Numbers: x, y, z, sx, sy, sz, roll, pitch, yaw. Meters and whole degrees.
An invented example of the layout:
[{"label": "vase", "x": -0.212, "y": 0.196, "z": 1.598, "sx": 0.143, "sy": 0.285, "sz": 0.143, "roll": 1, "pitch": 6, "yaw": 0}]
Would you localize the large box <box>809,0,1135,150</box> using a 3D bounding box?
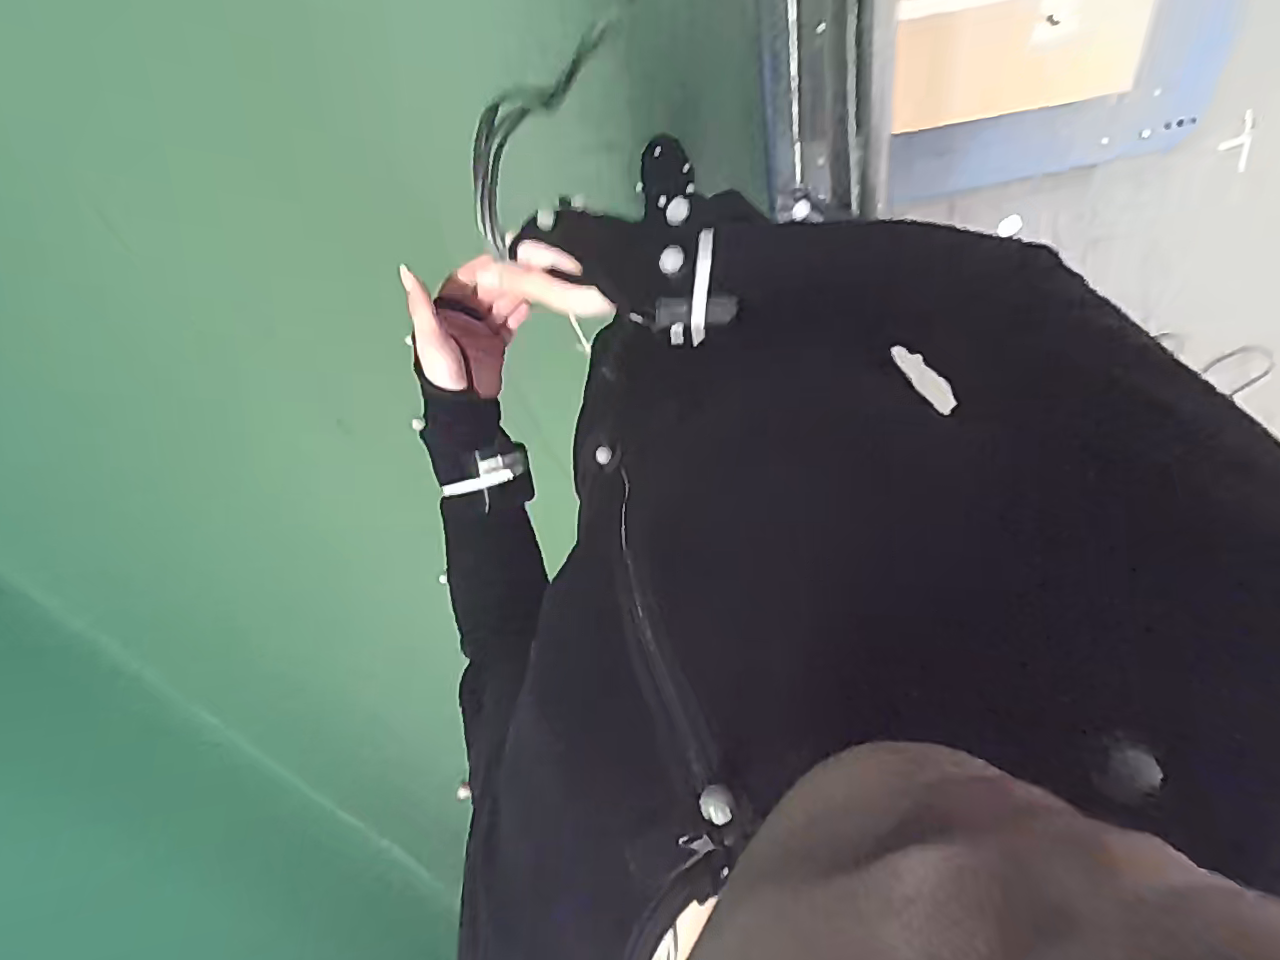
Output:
[{"label": "large box", "x": 0.529, "y": -0.785, "z": 0.928, "sx": 0.408, "sy": 0.320, "sz": 0.320, "roll": -8, "pitch": 120, "yaw": 5}]
